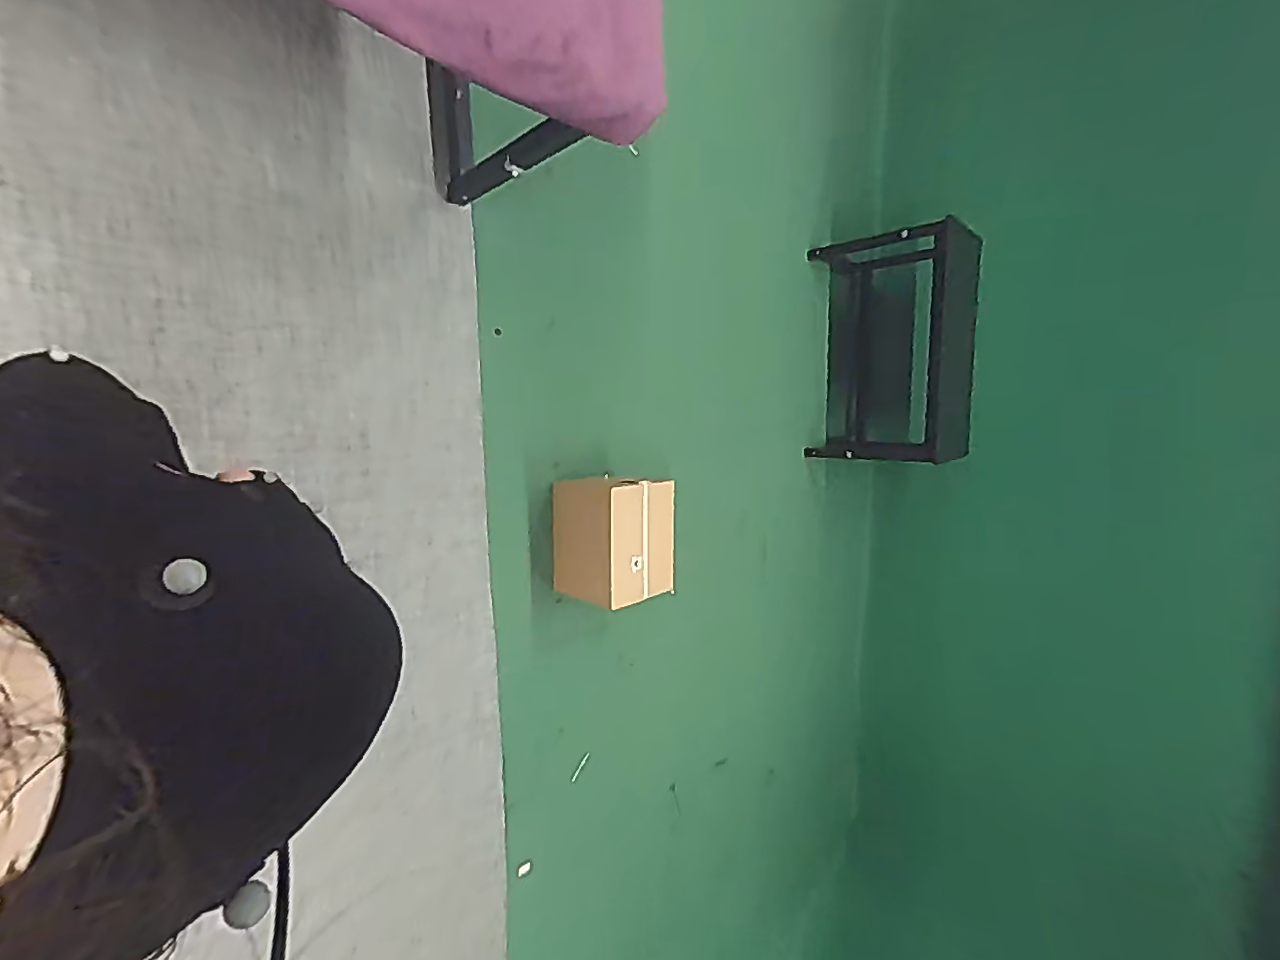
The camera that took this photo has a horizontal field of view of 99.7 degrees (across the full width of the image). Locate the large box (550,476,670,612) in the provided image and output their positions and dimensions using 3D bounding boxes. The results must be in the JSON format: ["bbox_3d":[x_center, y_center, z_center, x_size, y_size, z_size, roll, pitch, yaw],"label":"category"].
[{"bbox_3d":[-0.106,0.206,1.925,0.320,0.320,0.408,-6,99,-46],"label":"large box"}]
